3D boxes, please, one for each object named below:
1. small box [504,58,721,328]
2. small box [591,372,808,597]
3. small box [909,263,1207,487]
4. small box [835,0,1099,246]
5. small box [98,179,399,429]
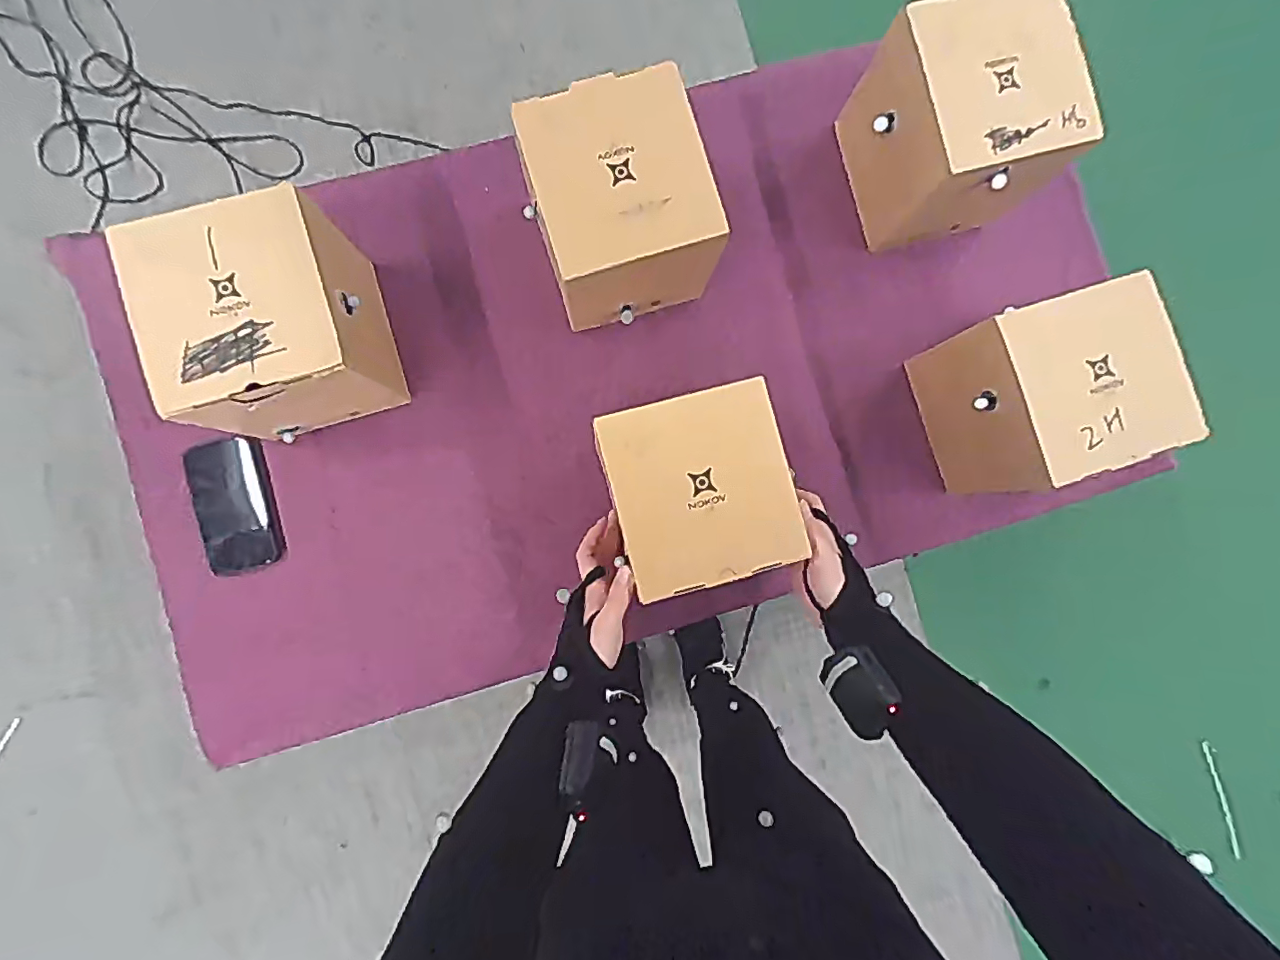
[{"bbox_3d":[-0.031,-0.288,0.578,0.168,0.176,0.179,-17,89,-3],"label":"small box"},{"bbox_3d":[0.047,0.008,0.565,0.168,0.176,0.179,-15,88,-4],"label":"small box"},{"bbox_3d":[0.428,-0.099,0.587,0.168,0.176,0.179,-18,88,-3],"label":"small box"},{"bbox_3d":[0.342,-0.397,0.603,0.168,0.176,0.179,-15,87,-3],"label":"small box"},{"bbox_3d":[-0.371,-0.158,0.549,0.168,0.176,0.179,-17,87,-4],"label":"small box"}]
